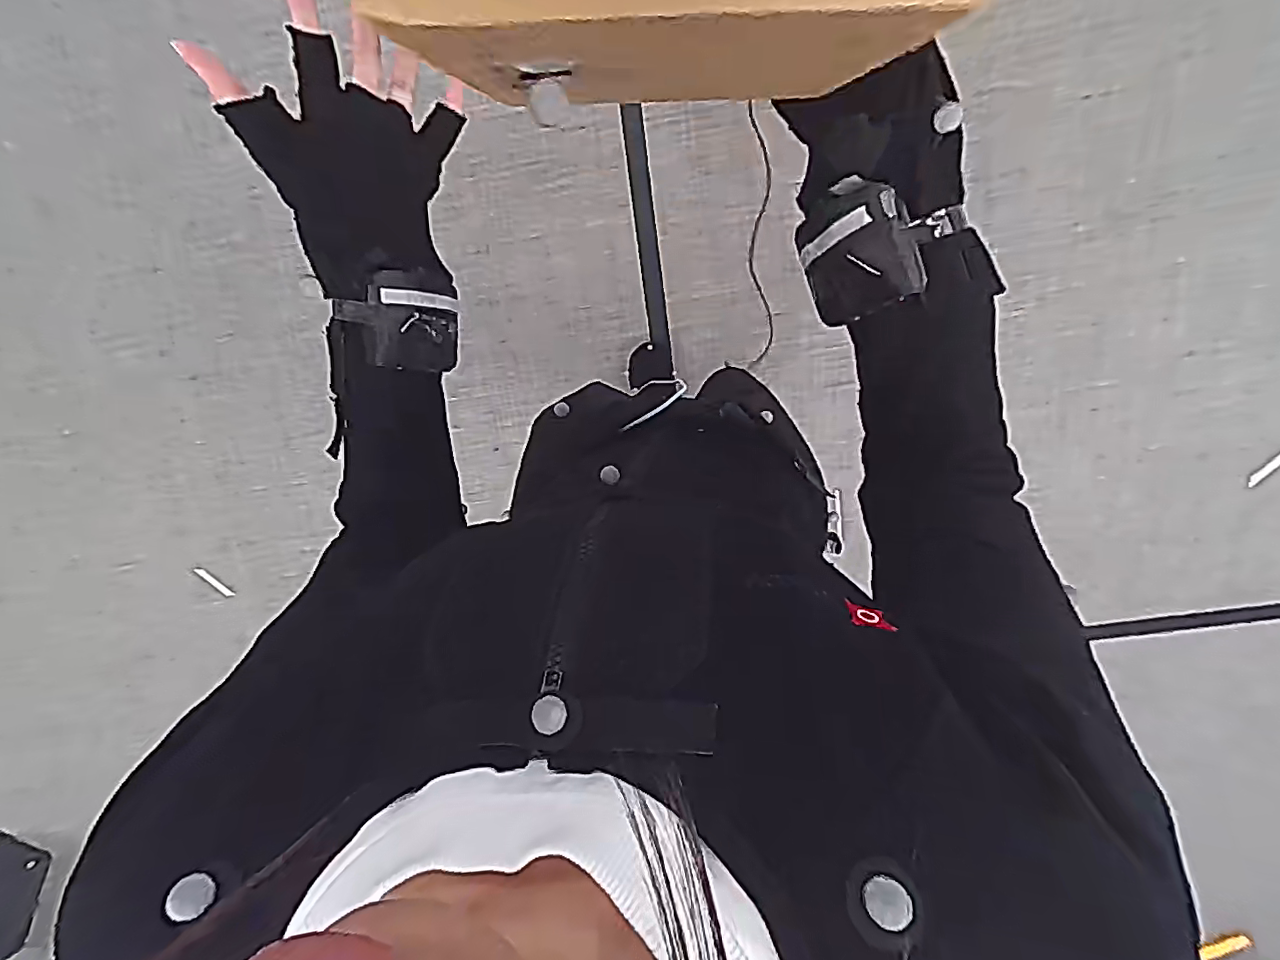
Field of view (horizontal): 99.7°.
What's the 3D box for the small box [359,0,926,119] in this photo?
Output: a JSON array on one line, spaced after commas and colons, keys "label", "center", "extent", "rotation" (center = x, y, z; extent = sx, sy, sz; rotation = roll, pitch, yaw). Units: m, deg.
[{"label": "small box", "center": [-0.004, -0.240, 0.184], "extent": [0.176, 0.168, 0.179], "rotation": [0, 118, 4]}]
